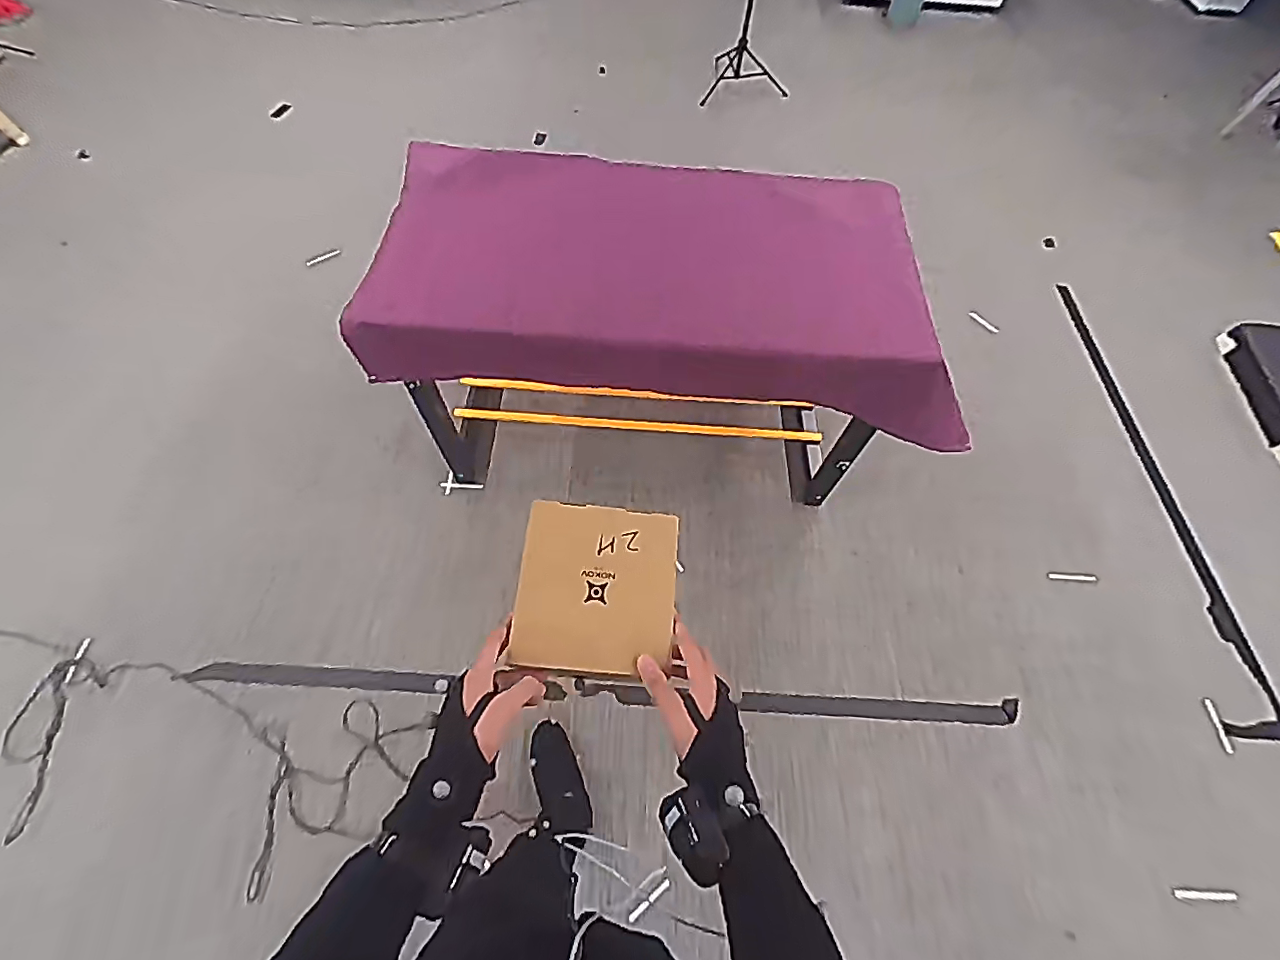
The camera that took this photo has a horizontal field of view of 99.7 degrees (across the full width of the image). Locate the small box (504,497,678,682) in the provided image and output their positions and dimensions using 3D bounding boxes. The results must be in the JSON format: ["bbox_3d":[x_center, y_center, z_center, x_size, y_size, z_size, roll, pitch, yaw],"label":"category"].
[{"bbox_3d":[-0.056,0.139,0.642,0.168,0.176,0.179,8,66,-5],"label":"small box"}]
